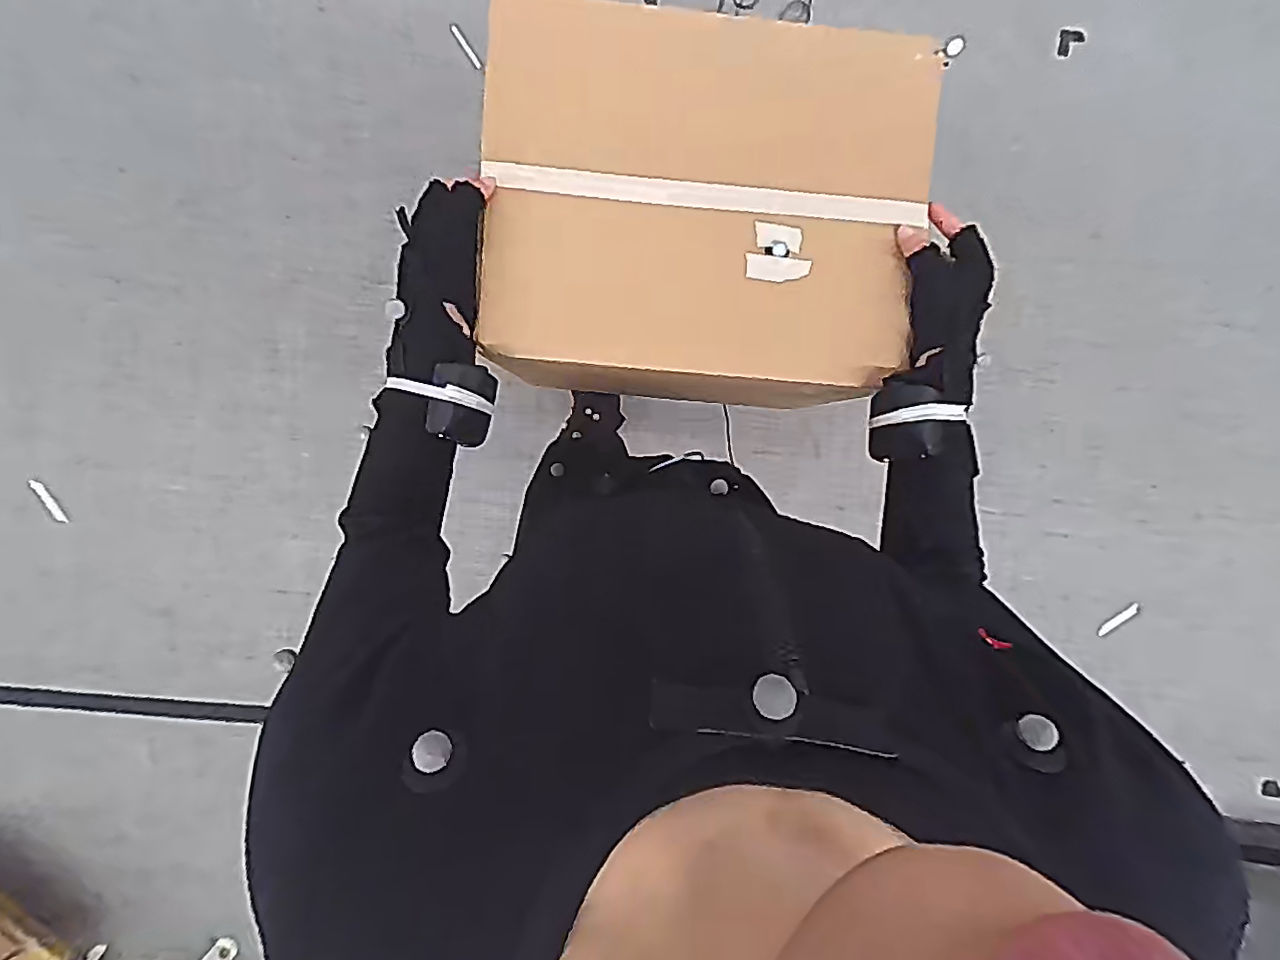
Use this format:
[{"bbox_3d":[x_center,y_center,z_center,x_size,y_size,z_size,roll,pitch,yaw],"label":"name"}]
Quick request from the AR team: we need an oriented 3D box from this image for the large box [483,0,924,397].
[{"bbox_3d":[0.049,-0.278,0.652,0.408,0.320,0.320,4,95,-3],"label":"large box"}]
